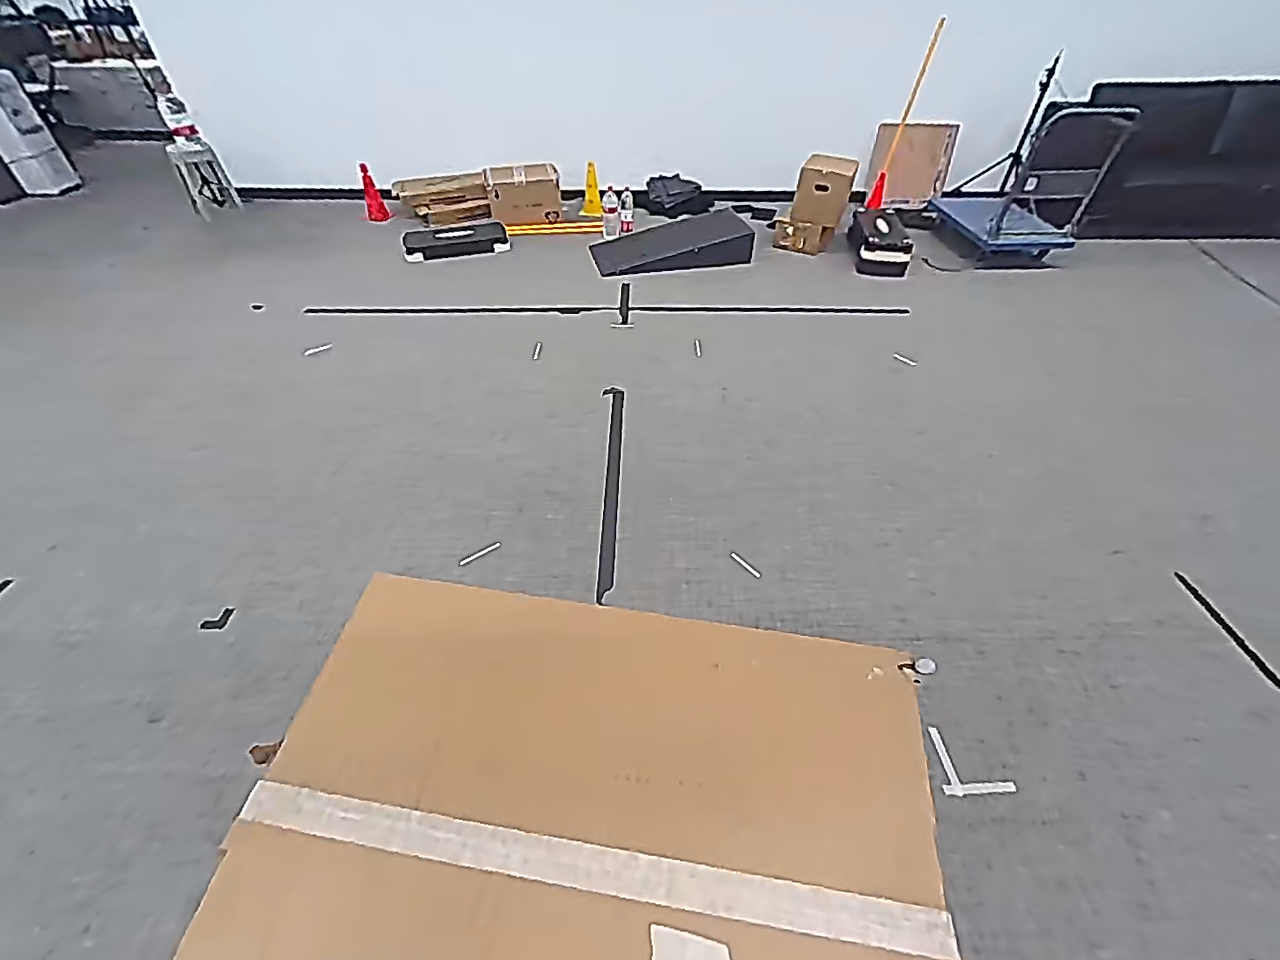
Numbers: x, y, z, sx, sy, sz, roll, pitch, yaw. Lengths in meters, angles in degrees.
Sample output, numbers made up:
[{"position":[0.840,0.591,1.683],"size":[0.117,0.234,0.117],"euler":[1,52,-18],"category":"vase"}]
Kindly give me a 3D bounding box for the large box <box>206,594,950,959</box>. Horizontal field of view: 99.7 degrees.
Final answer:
[{"position":[-0.028,0.320,0.431],"size":[0.408,0.320,0.320],"euler":[7,53,6],"category":"large box"}]
